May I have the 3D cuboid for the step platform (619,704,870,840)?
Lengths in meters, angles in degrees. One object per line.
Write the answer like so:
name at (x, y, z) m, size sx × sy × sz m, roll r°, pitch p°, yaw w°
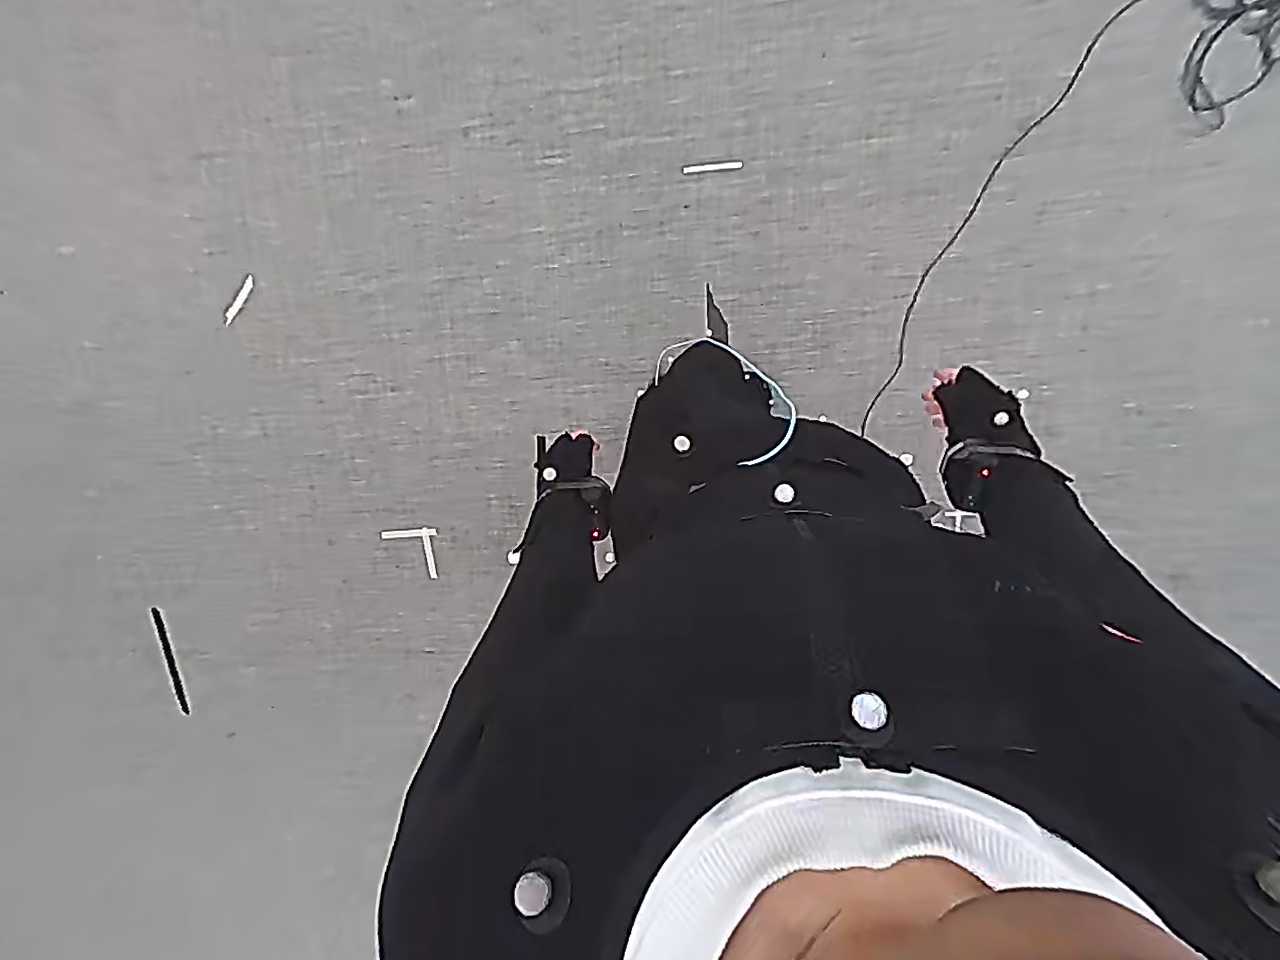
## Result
step platform at (0.281, 0.818, 1.527) m, size 0.684 × 0.204 × 0.286 m, roll -3°, pitch 102°, yaw 9°
